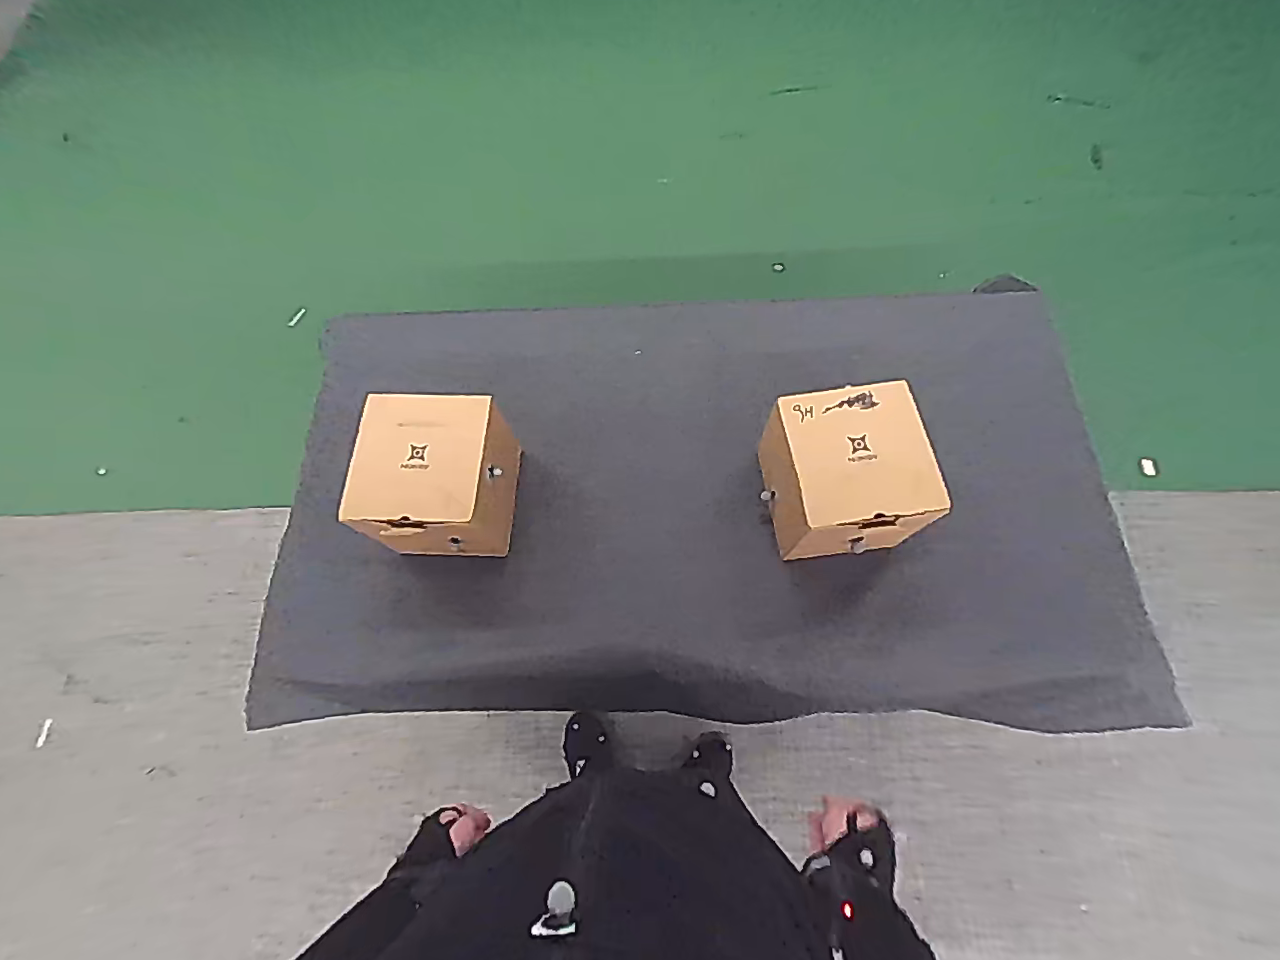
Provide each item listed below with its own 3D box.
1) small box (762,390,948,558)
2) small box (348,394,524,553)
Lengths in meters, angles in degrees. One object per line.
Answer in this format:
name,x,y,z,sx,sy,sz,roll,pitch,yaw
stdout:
small box,0.270,0.003,0.726,0.168,0.176,0.179,-7,69,0
small box,-0.267,-0.001,0.754,0.168,0.176,0.179,2,67,2
